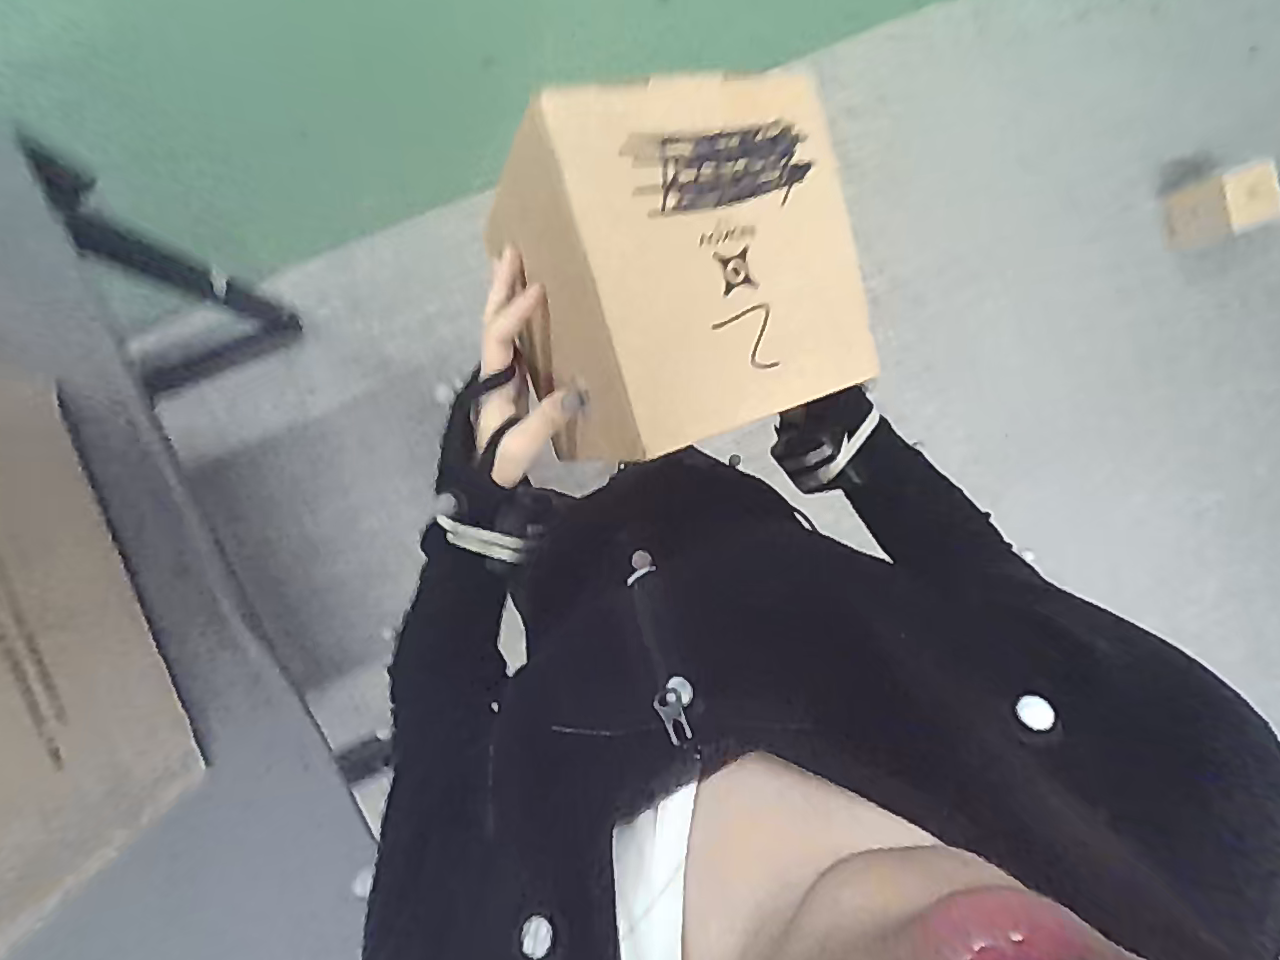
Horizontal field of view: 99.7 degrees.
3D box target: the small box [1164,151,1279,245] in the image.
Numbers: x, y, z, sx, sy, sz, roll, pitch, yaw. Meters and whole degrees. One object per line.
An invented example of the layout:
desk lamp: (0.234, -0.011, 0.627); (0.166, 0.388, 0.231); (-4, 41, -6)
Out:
small box: (1.674, -0.805, 1.562); (0.179, 0.176, 0.168); (-19, 96, -5)
